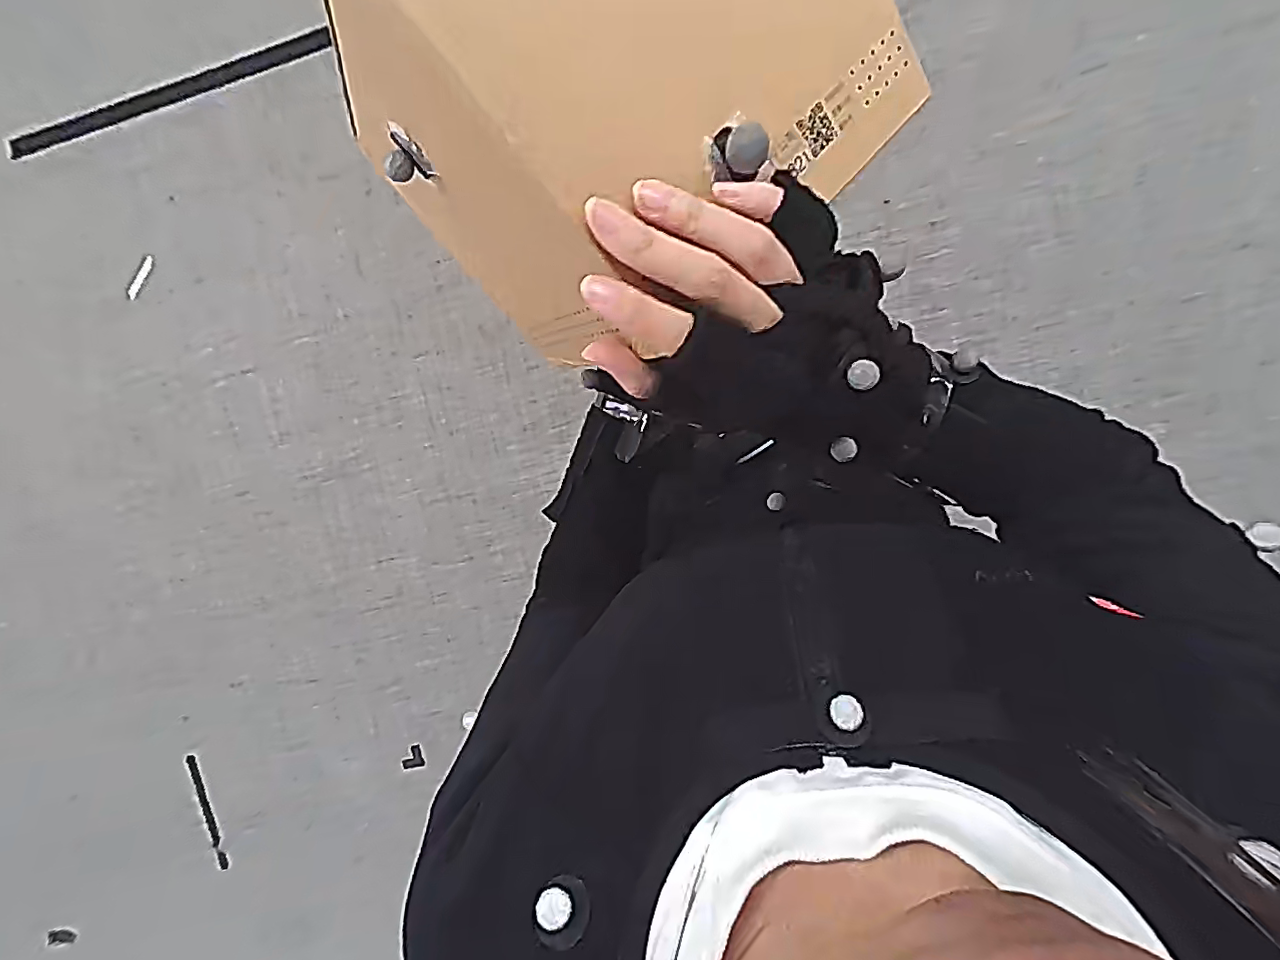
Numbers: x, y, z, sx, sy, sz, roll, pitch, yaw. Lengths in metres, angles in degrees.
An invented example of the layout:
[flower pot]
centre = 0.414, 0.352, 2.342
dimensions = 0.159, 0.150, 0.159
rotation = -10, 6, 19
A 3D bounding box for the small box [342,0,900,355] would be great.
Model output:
[small box]
centre = -0.014, -0.179, 0.277
dimensions = 0.168, 0.179, 0.176
rotation = -47, 113, -7
